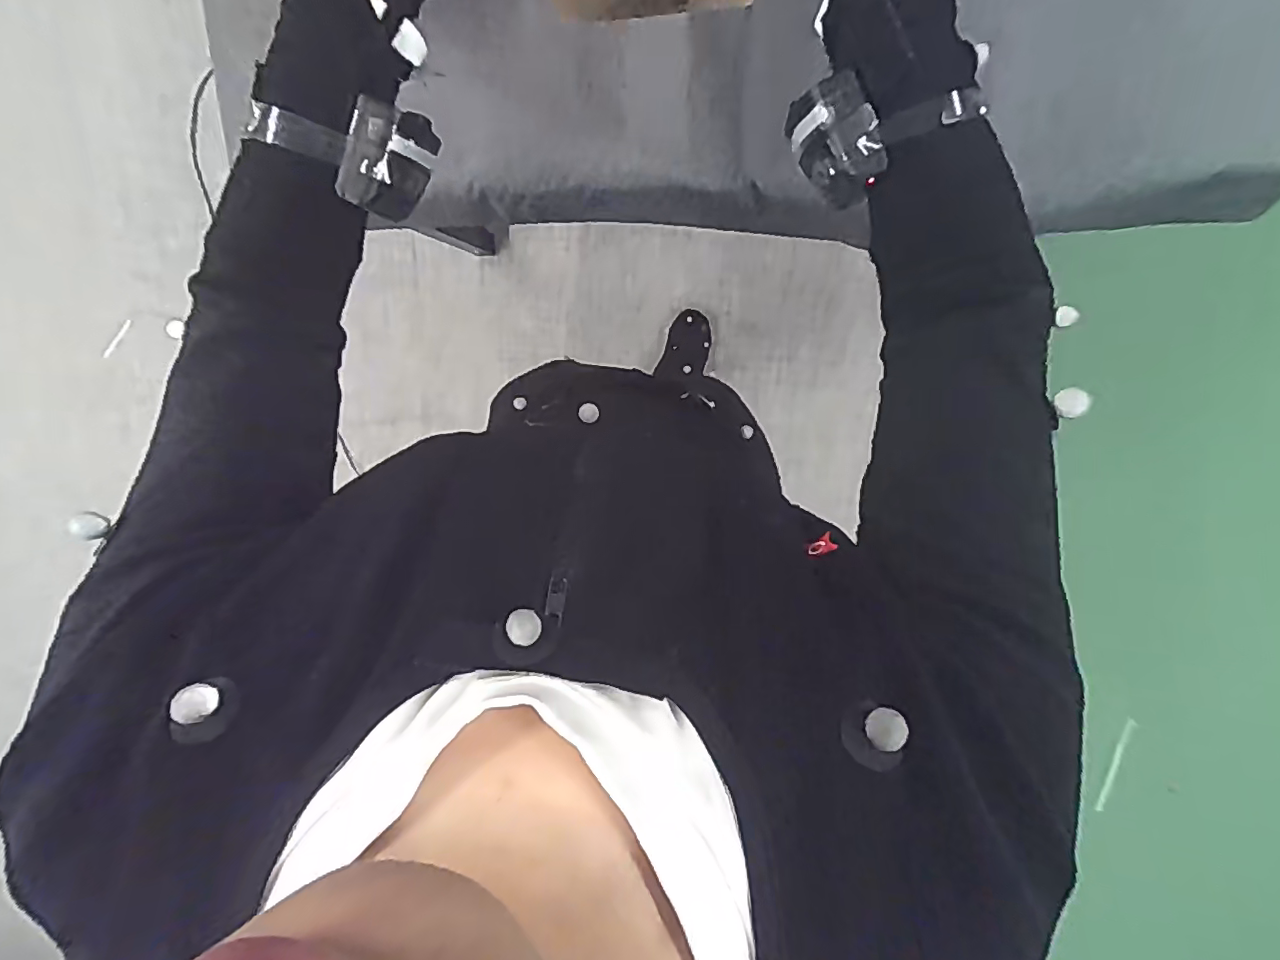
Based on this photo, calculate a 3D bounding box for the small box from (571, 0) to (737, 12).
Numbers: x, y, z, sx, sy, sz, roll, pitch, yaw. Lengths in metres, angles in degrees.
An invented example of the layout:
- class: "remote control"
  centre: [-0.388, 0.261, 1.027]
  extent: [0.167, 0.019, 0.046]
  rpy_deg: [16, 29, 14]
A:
- class: "small box"
  centre: [0.003, -0.460, 0.367]
  extent: [0.168, 0.176, 0.179]
  rpy_deg: [0, 106, 8]
